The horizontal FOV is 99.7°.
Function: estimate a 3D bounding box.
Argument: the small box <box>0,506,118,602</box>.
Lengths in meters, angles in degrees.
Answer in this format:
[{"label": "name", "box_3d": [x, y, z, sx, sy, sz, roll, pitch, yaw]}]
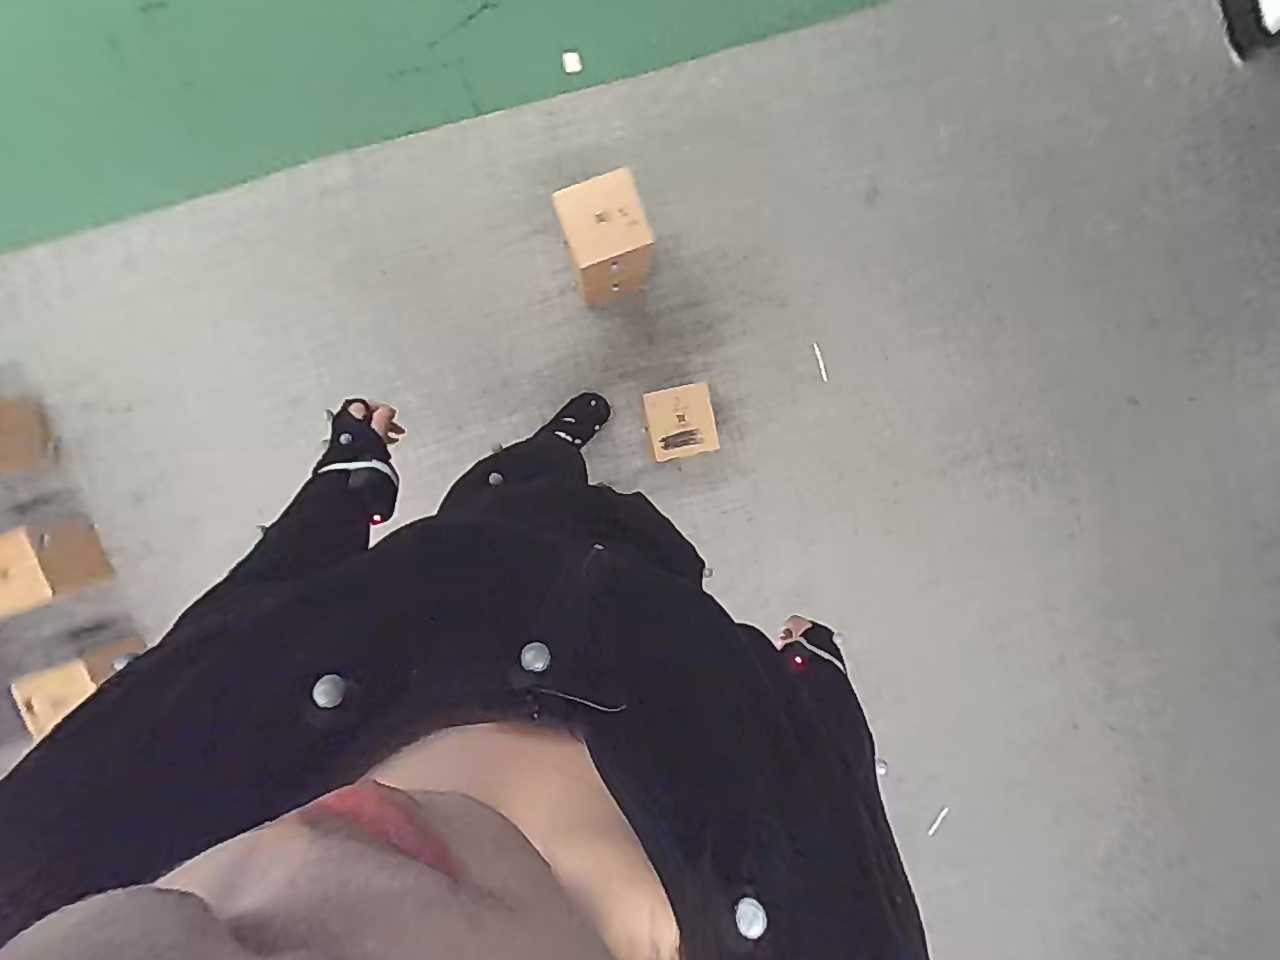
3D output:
[{"label": "small box", "box_3d": [-1.474, 0.178, 1.348, 0.168, 0.176, 0.179, -19, 94, -3]}]

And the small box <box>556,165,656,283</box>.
[{"label": "small box", "box_3d": [-0.075, -0.566, 1.222, 0.179, 0.176, 0.168, -20, 96, -2]}]

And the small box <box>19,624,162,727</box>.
[{"label": "small box", "box_3d": [-1.375, 0.486, 1.373, 0.179, 0.176, 0.168, -18, 95, -3]}]

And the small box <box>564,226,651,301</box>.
[{"label": "small box", "box_3d": [-0.082, -0.576, 1.386, 0.179, 0.176, 0.168, -18, 95, -3]}]
